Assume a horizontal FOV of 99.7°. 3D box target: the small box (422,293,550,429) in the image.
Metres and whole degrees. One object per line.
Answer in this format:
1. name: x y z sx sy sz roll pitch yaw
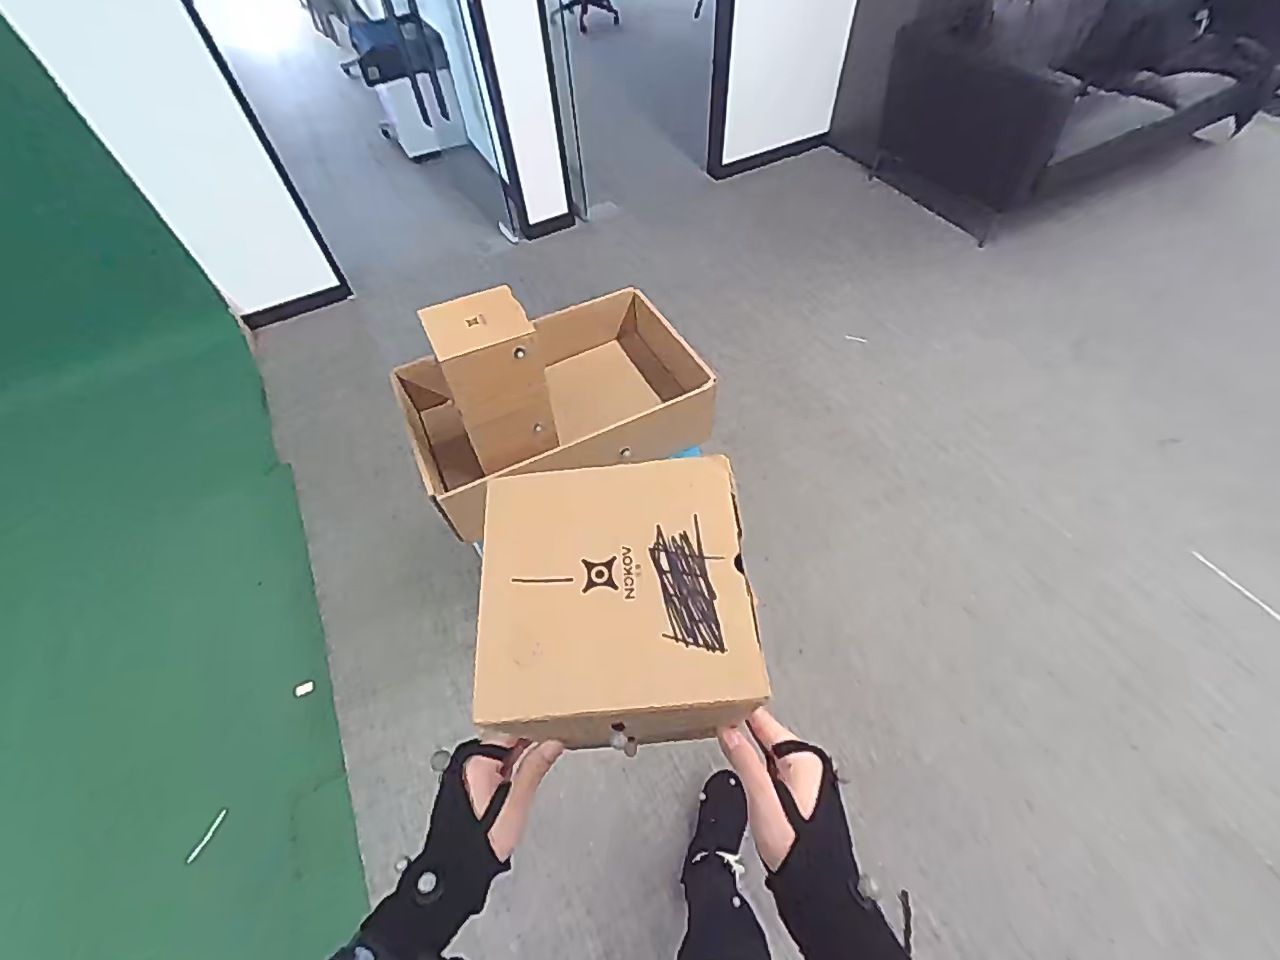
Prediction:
1. small box: -0.288 -0.224 1.034 0.179 0.176 0.168 -22 54 -16

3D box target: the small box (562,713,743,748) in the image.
1. small box: 0.002 0.177 0.560 0.179 0.176 0.168 -5 60 1

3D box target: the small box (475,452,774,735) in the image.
1. small box: -0.009 0.096 0.417 0.179 0.176 0.168 -5 60 2
